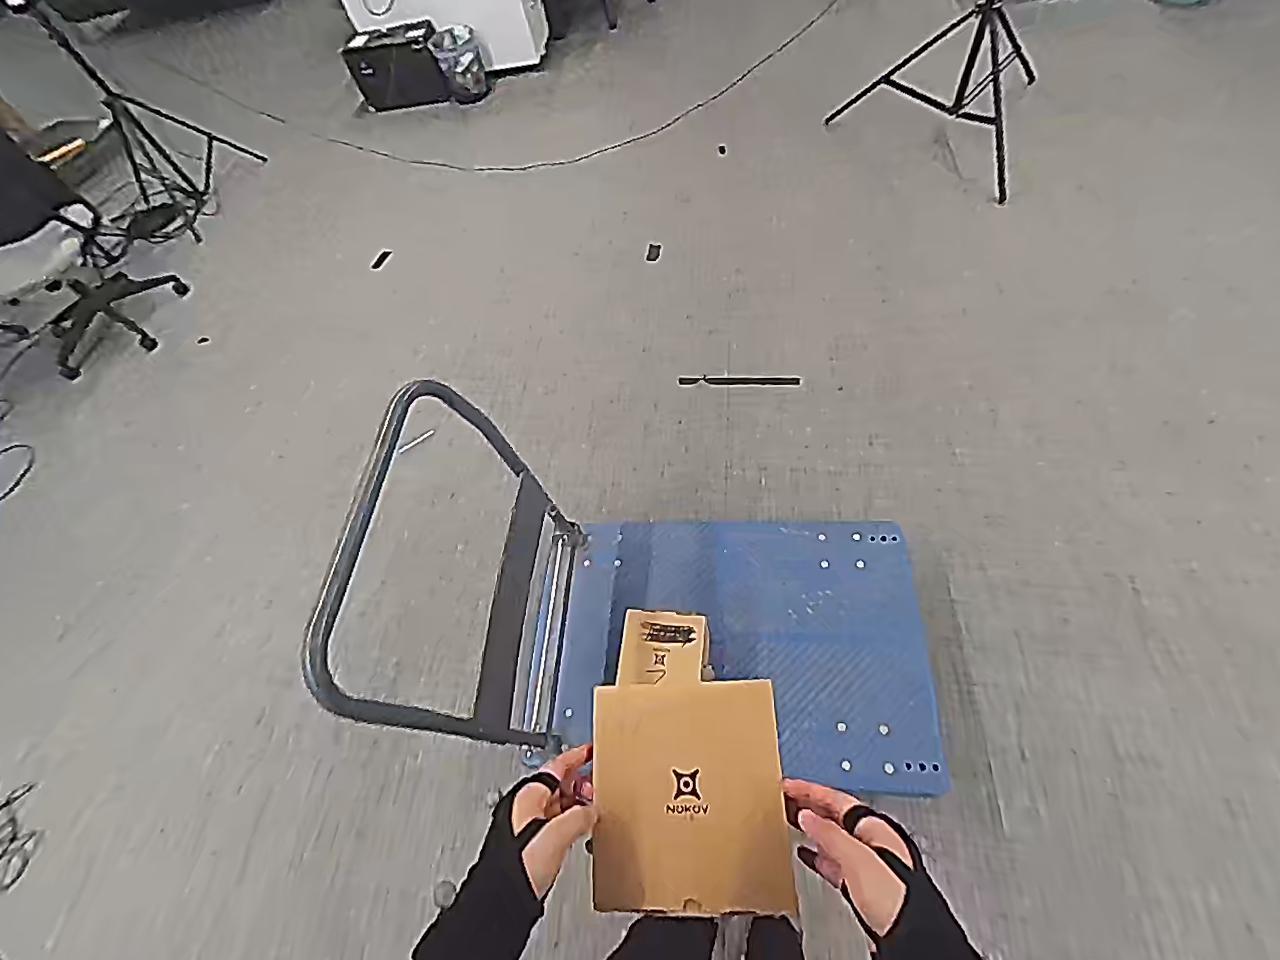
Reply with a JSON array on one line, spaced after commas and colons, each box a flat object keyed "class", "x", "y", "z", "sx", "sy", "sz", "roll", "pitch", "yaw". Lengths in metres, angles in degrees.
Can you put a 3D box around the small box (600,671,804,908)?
[{"class": "small box", "x": 0.057, "y": 0.289, "z": 0.536, "sx": 0.168, "sy": 0.176, "sz": 0.179, "roll": -5, "pitch": 69, "yaw": 7}]
